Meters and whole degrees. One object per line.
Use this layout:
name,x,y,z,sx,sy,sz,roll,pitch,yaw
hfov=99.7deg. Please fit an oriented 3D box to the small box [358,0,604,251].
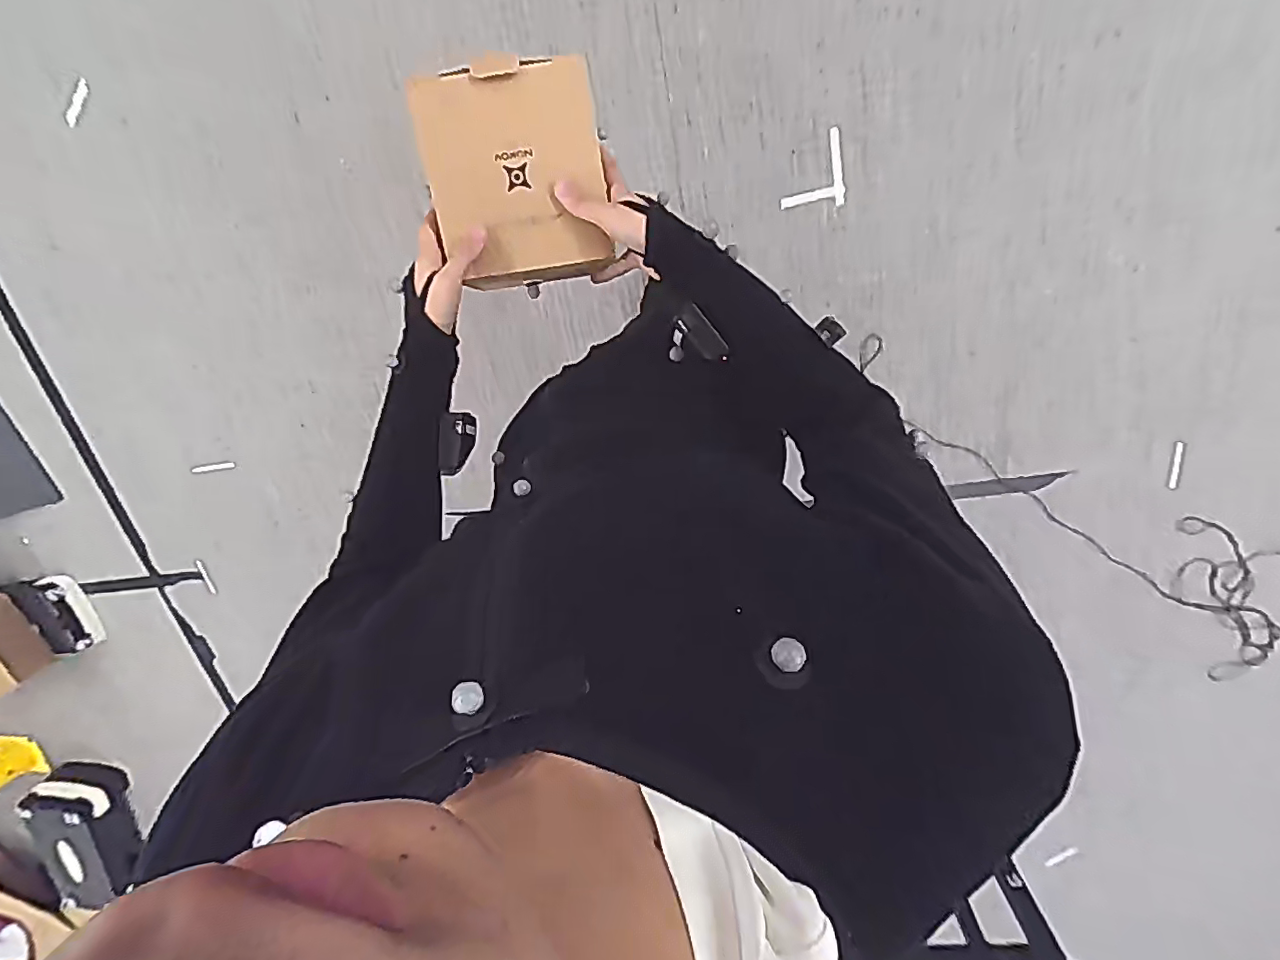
small box,-0.131,-0.329,0.510,0.168,0.176,0.179,-10,107,-2
